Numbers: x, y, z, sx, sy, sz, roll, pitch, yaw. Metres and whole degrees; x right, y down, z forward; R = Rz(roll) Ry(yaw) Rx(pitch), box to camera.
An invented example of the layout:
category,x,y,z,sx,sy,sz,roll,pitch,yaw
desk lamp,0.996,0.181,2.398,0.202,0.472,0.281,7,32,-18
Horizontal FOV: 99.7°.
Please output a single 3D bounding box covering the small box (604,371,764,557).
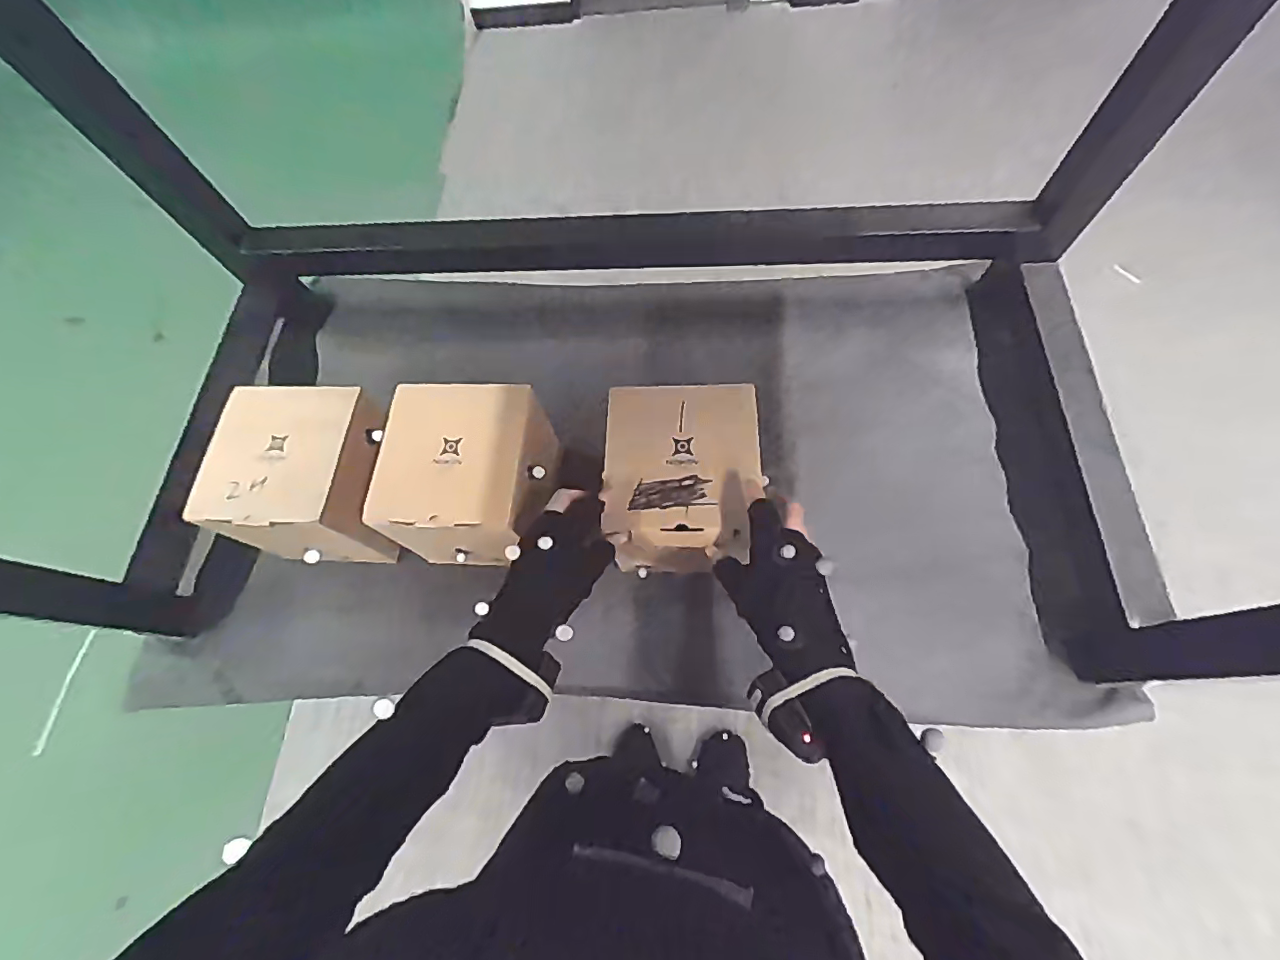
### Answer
category,x,y,z,sx,sy,sz,roll,pitch,yaw
small box,0.055,-0.009,0.647,0.168,0.176,0.179,-1,67,6
